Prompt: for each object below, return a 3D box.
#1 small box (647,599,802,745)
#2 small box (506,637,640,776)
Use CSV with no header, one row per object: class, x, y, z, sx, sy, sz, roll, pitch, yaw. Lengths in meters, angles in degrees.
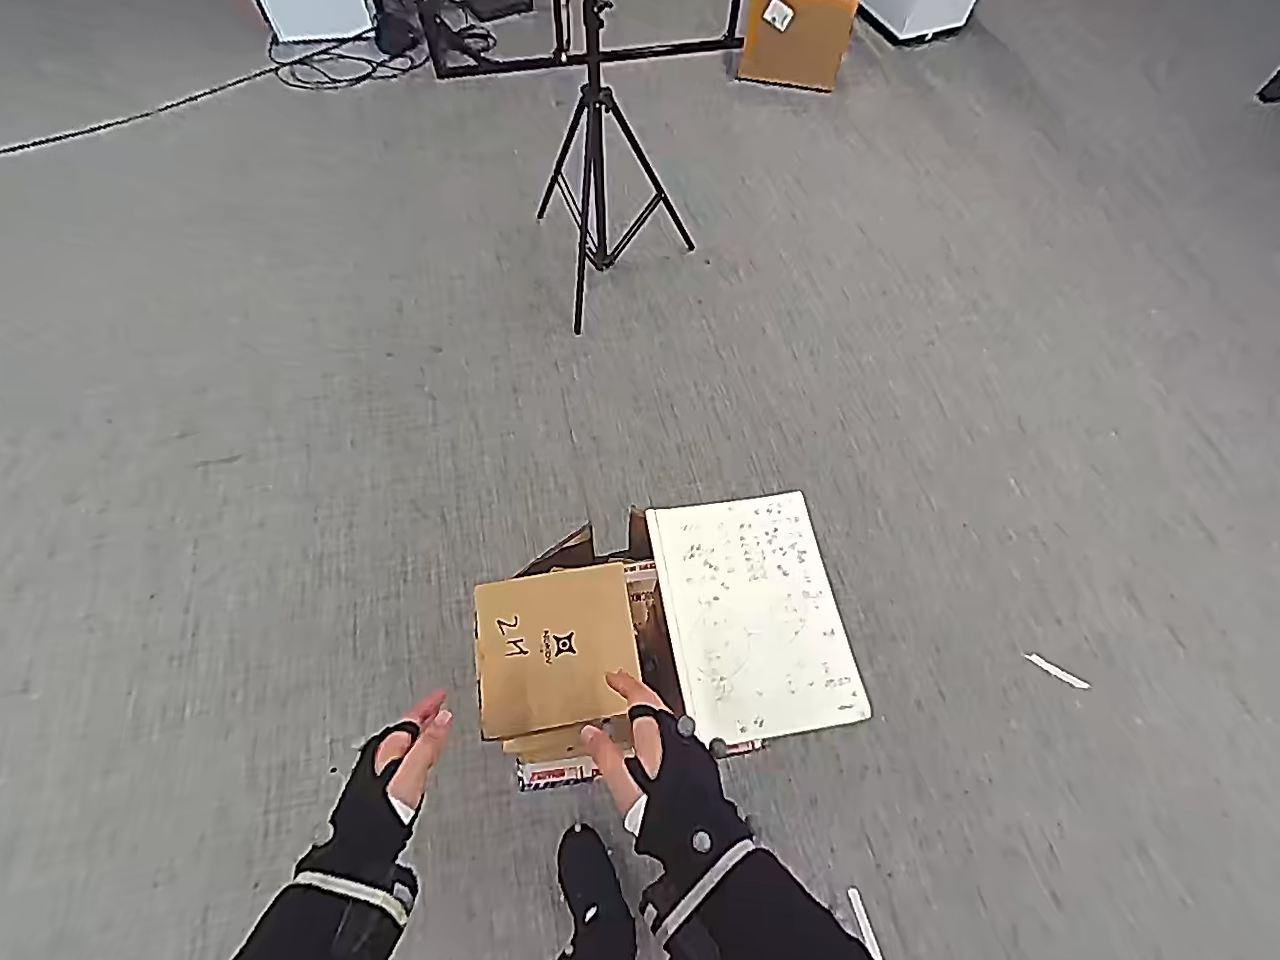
small box,0.117,0.297,0.832,0.179,0.176,0.168,-12,65,-9
small box,-0.095,0.334,0.805,0.179,0.176,0.168,-5,65,-3
